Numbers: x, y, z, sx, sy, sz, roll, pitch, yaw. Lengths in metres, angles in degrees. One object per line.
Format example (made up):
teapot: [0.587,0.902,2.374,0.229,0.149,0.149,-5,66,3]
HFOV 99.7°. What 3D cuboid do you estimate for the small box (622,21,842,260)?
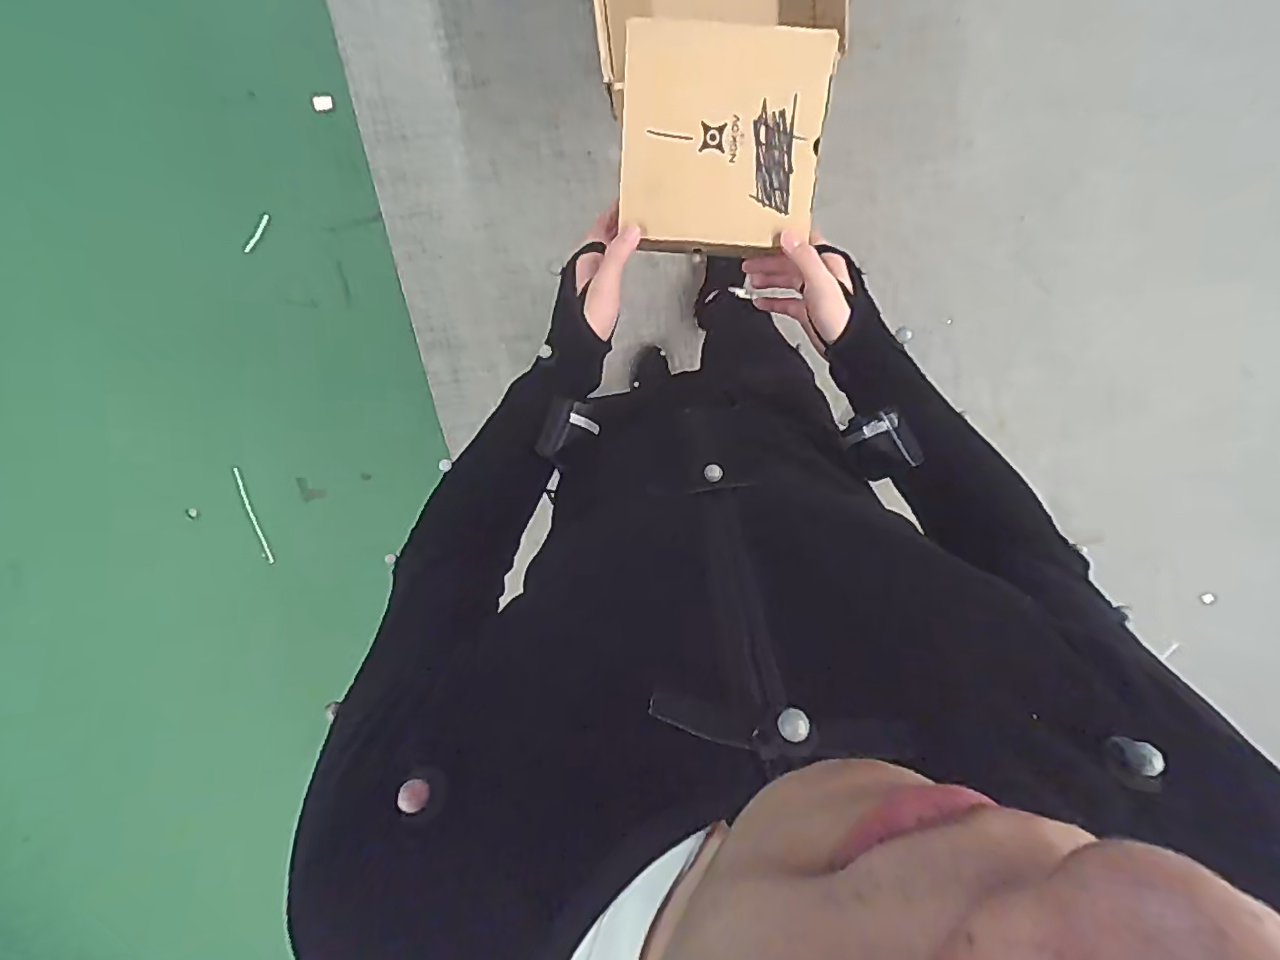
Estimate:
small box: [0.073,-0.316,0.540,0.179,0.176,0.168,3,109,-1]
